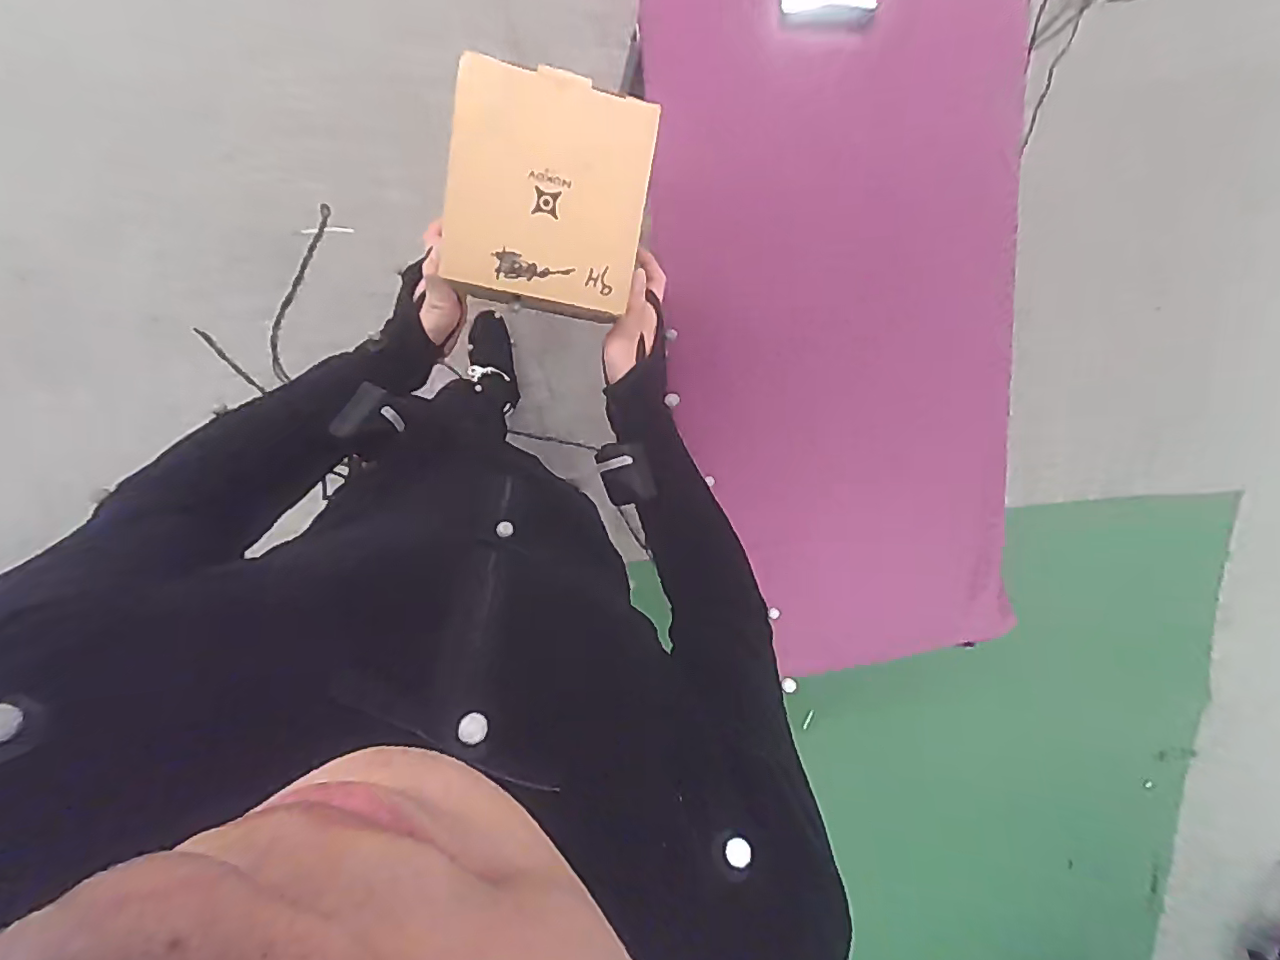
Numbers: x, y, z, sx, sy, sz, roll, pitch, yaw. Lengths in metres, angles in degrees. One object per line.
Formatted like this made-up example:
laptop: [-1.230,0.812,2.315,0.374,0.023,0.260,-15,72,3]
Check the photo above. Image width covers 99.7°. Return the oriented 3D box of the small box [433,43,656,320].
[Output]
small box: [-0.092,-0.265,0.531,0.168,0.176,0.179,8,101,-10]
